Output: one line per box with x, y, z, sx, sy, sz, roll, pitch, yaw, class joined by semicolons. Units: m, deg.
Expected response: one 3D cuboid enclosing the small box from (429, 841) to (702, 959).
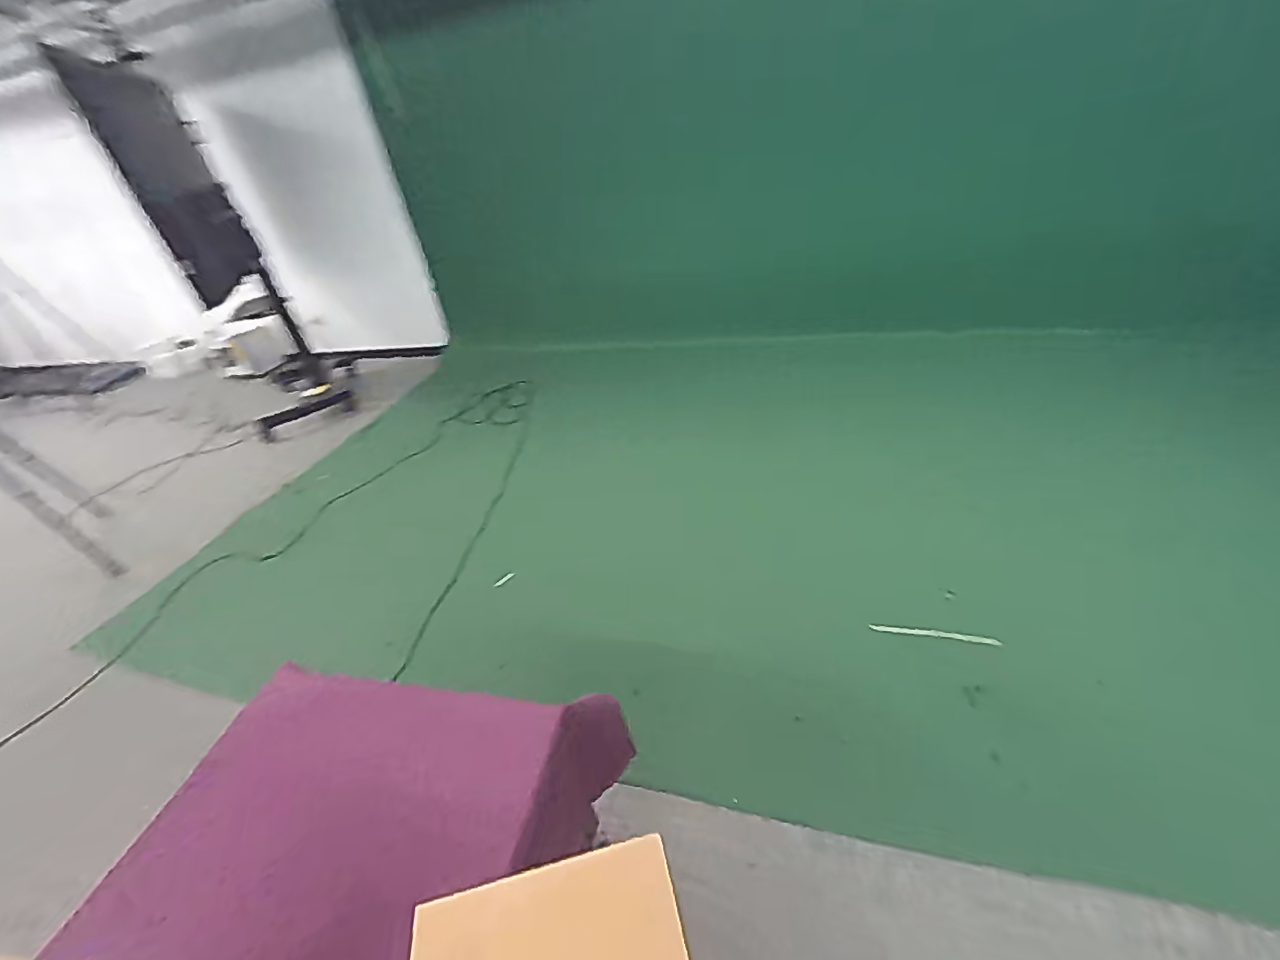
-0.031;0.375;0.345;0.168;0.176;0.179;-13;40;-5;small box
